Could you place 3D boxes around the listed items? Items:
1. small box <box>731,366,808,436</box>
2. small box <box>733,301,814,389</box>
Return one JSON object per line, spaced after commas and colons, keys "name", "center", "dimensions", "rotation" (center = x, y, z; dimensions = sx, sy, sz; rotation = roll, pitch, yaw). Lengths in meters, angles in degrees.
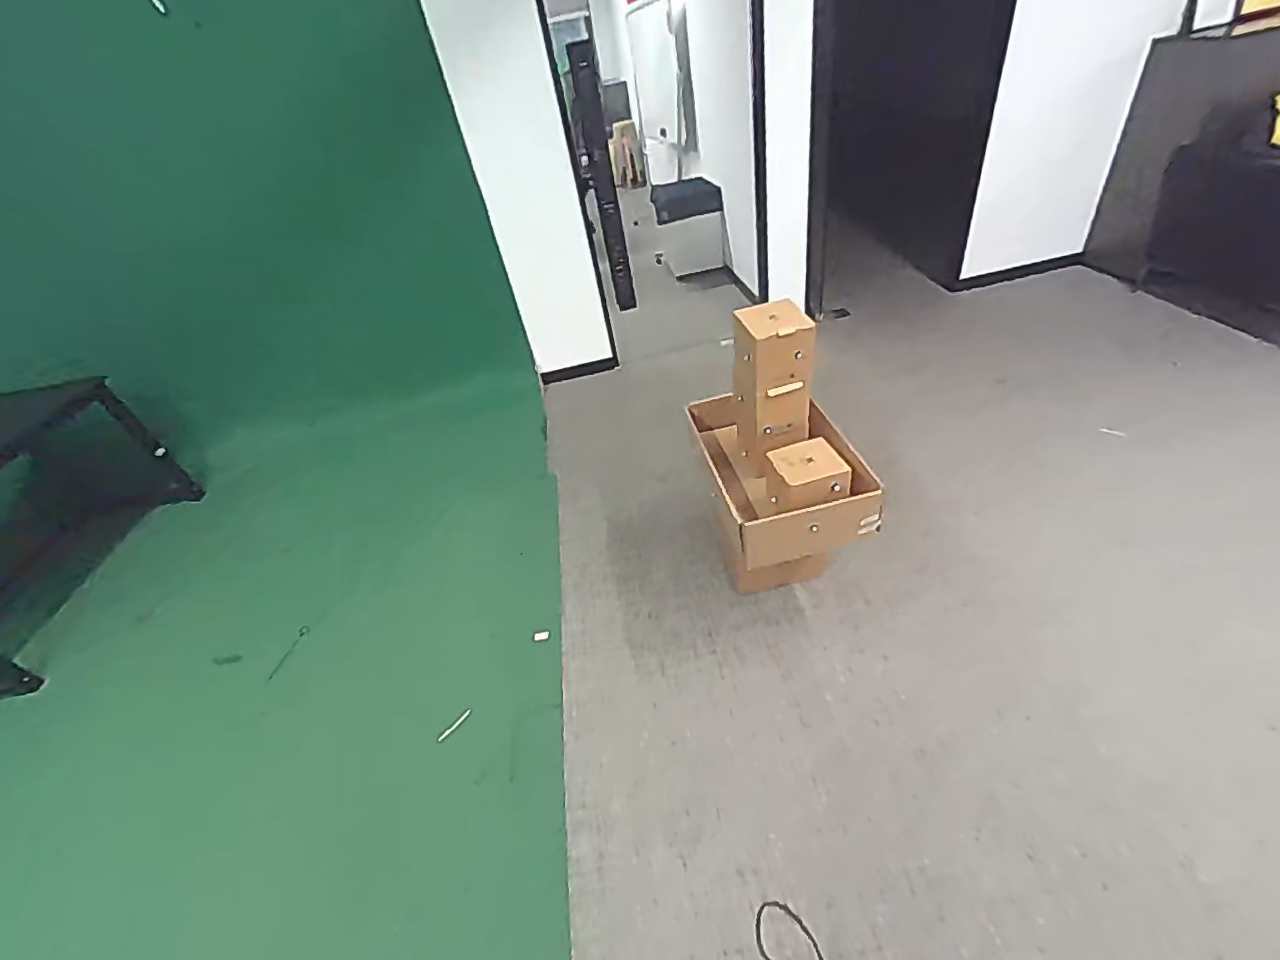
{"name": "small box", "center": [0.383, -0.247, 1.605], "dimensions": [0.168, 0.176, 0.179], "rotation": [-16, 42, -5]}
{"name": "small box", "center": [0.366, -0.367, 1.496], "dimensions": [0.168, 0.176, 0.179], "rotation": [-14, 42, -4]}
